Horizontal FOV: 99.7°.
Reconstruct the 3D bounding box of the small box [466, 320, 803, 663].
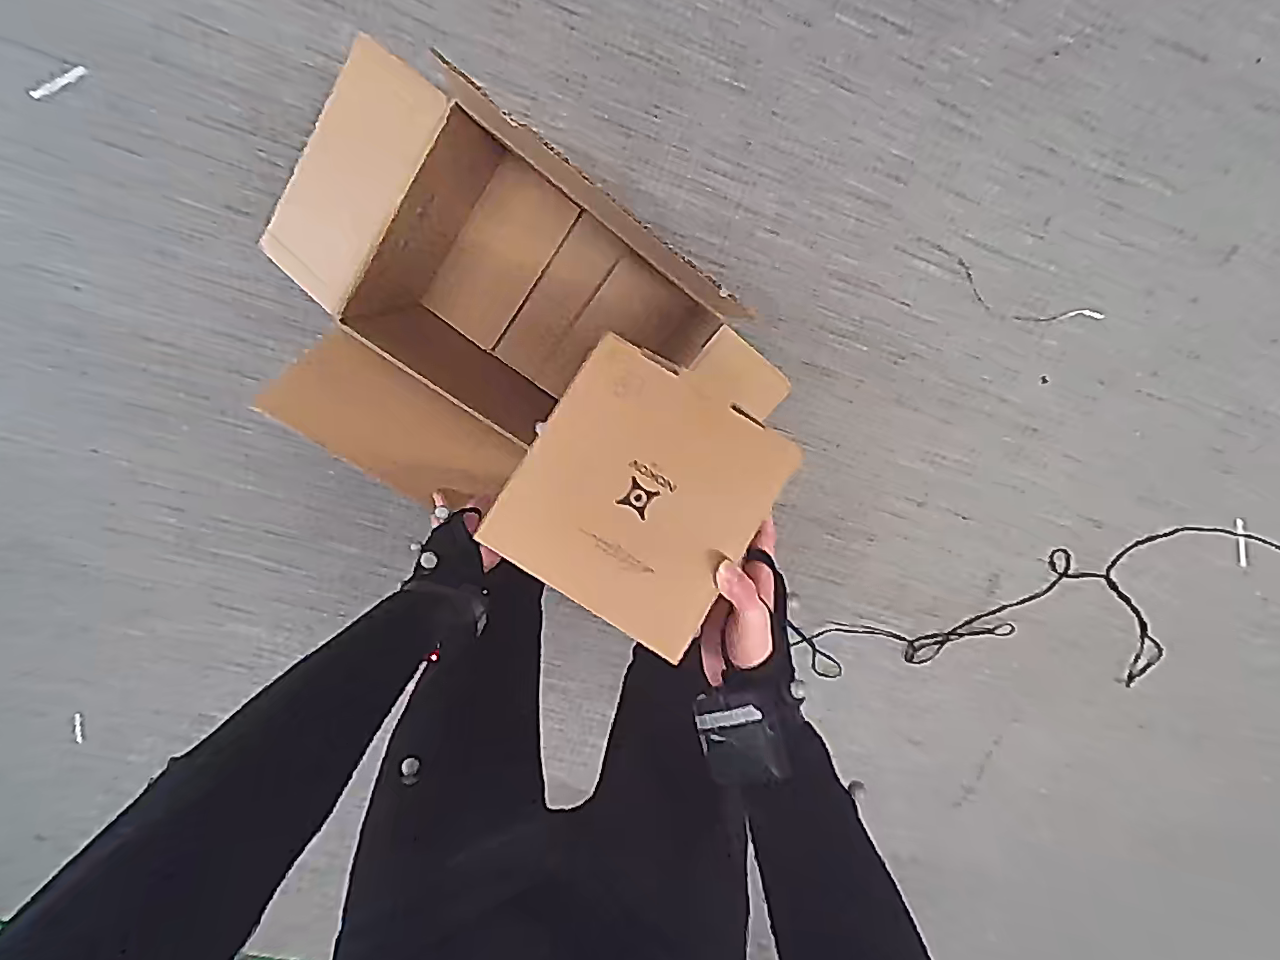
[{"bbox_3d":[-0.002,0.012,0.438,0.168,0.176,0.179,33,86,5],"label":"small box"}]
